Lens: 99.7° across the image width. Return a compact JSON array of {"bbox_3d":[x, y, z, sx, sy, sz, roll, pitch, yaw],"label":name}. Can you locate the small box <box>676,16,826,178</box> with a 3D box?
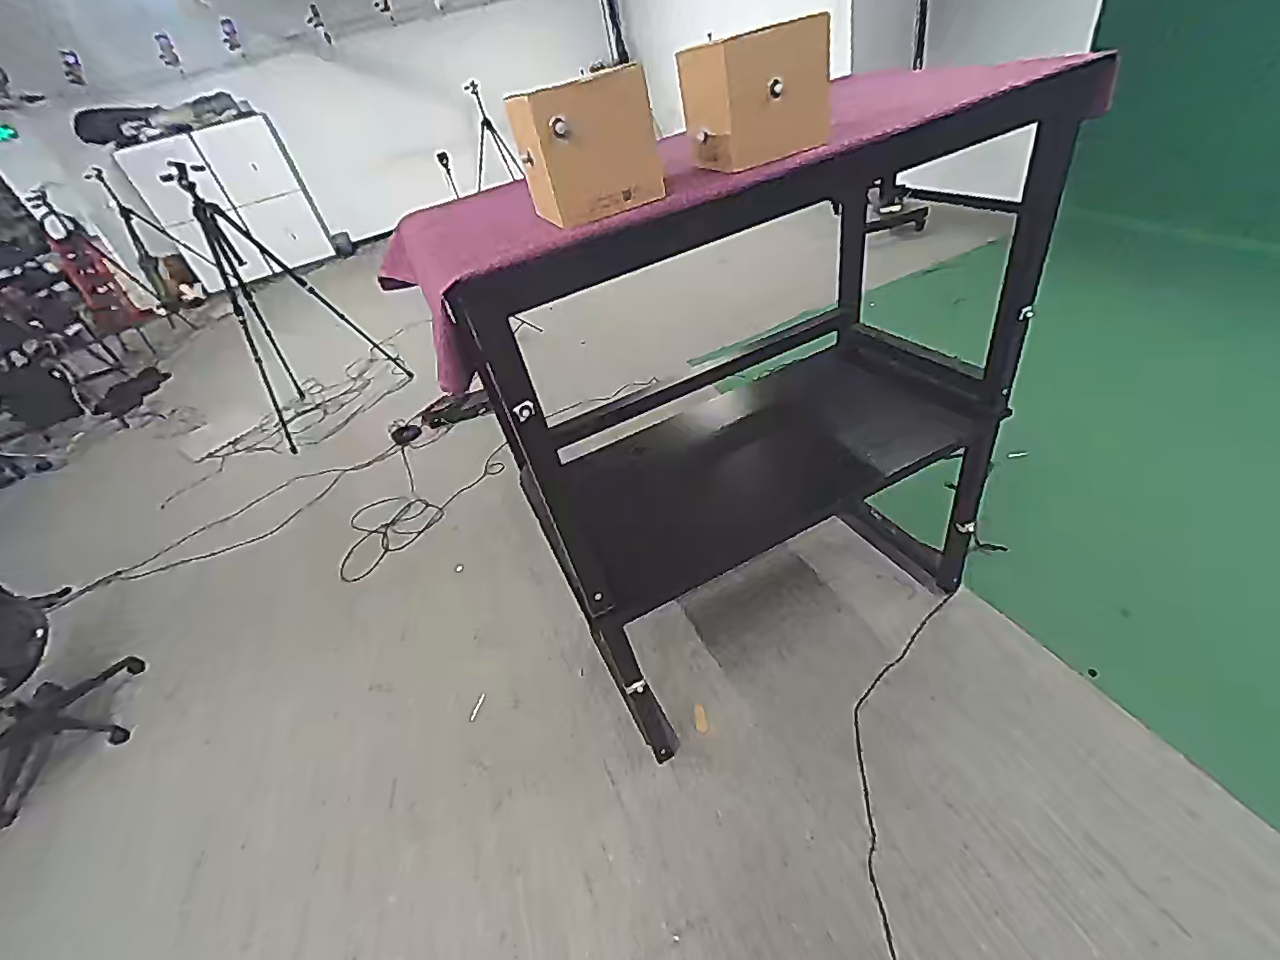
[{"bbox_3d":[0.178,-0.610,0.870,0.179,0.176,0.168,-23,38,-7],"label":"small box"}]
